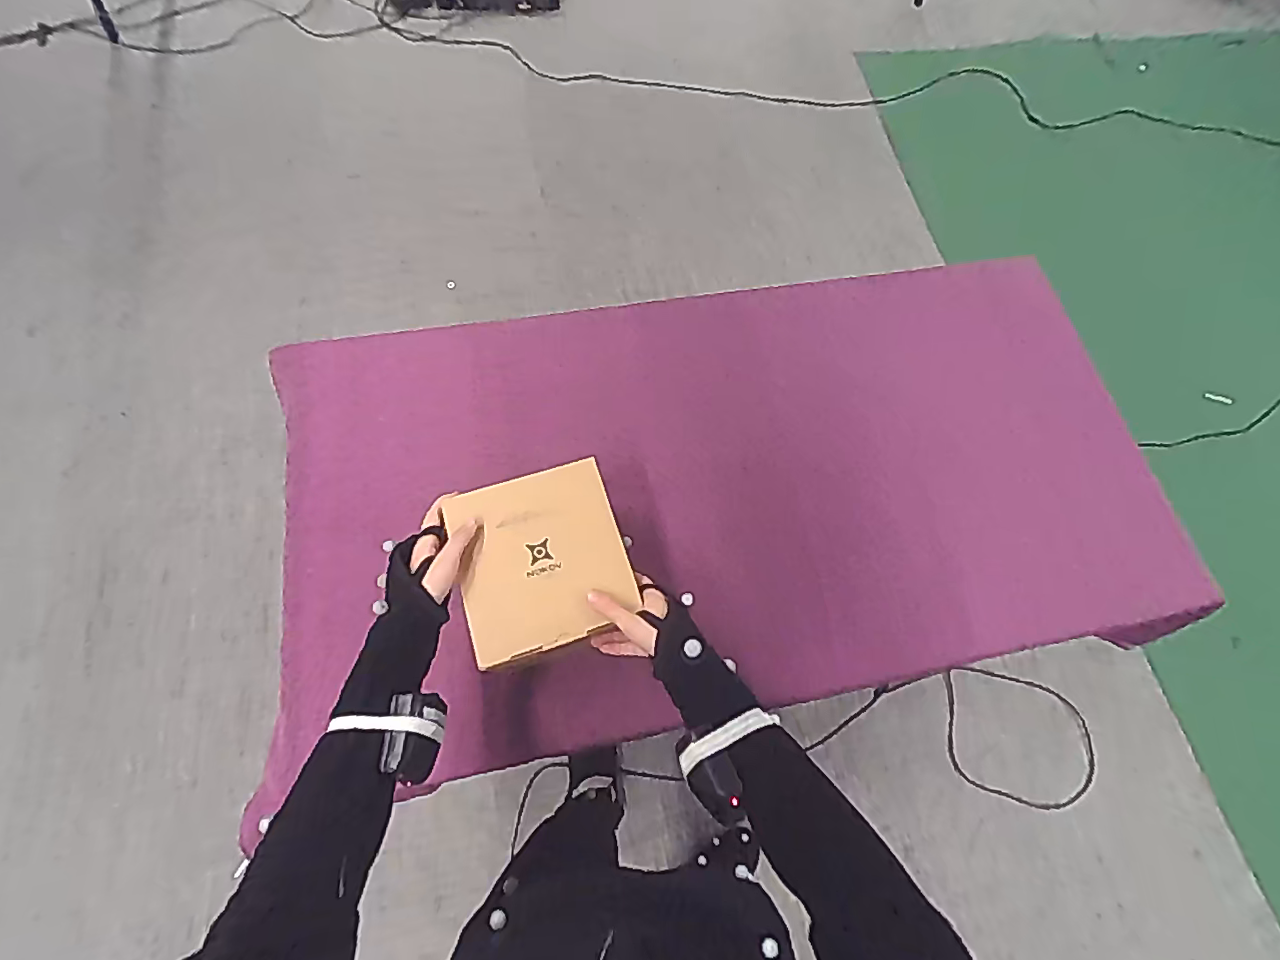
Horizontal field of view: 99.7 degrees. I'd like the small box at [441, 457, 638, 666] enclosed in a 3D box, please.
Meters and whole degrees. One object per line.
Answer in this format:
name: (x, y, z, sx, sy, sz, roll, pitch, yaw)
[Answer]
small box: (-0.107, 0.099, 0.612, 0.168, 0.176, 0.179, -15, 72, -11)
